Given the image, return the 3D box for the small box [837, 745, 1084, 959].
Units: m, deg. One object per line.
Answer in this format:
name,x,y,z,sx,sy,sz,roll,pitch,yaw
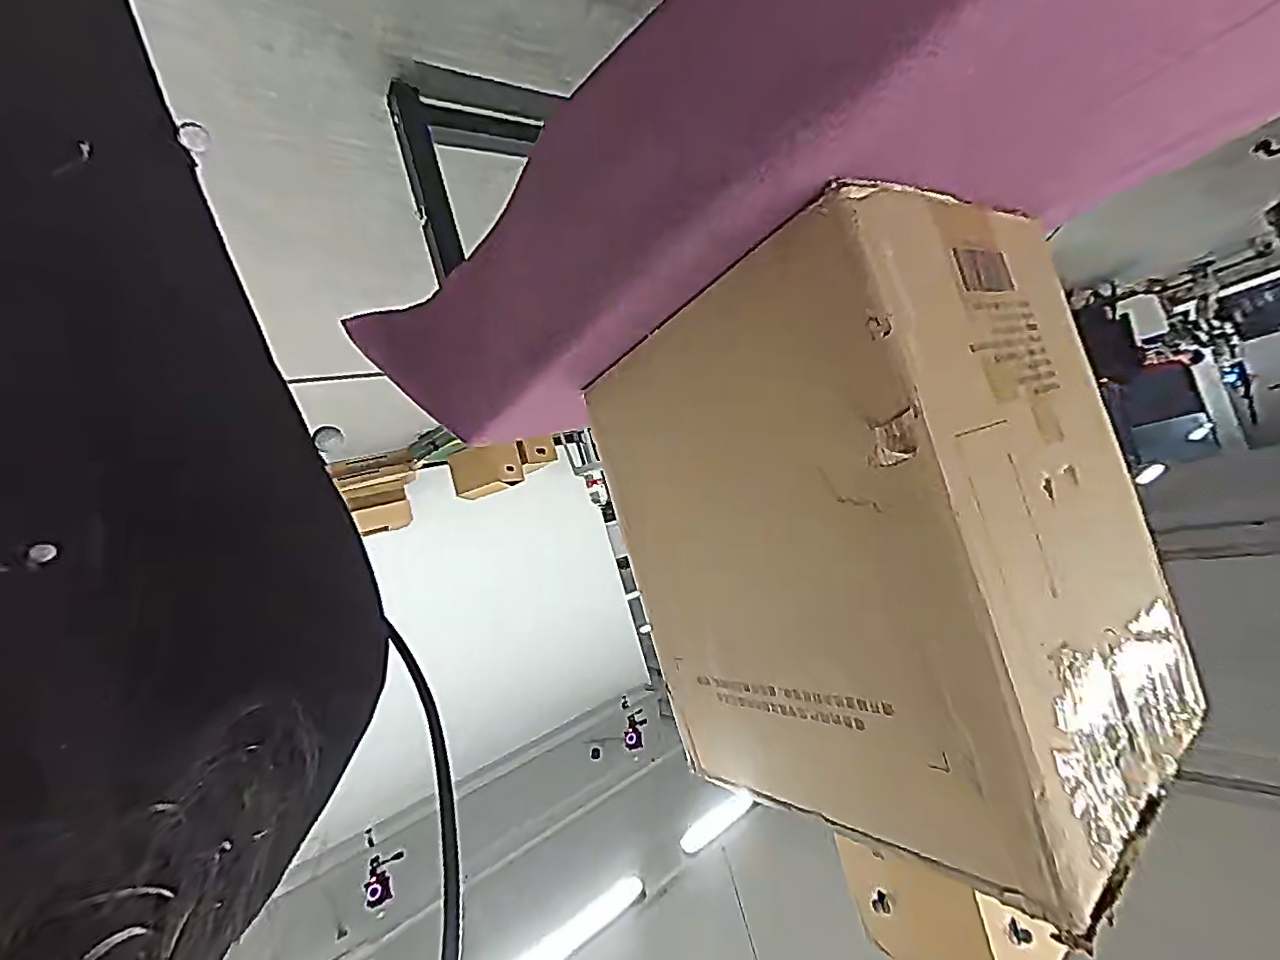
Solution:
small box,0.358,0.437,0.619,0.179,0.176,0.168,-15,178,-33
